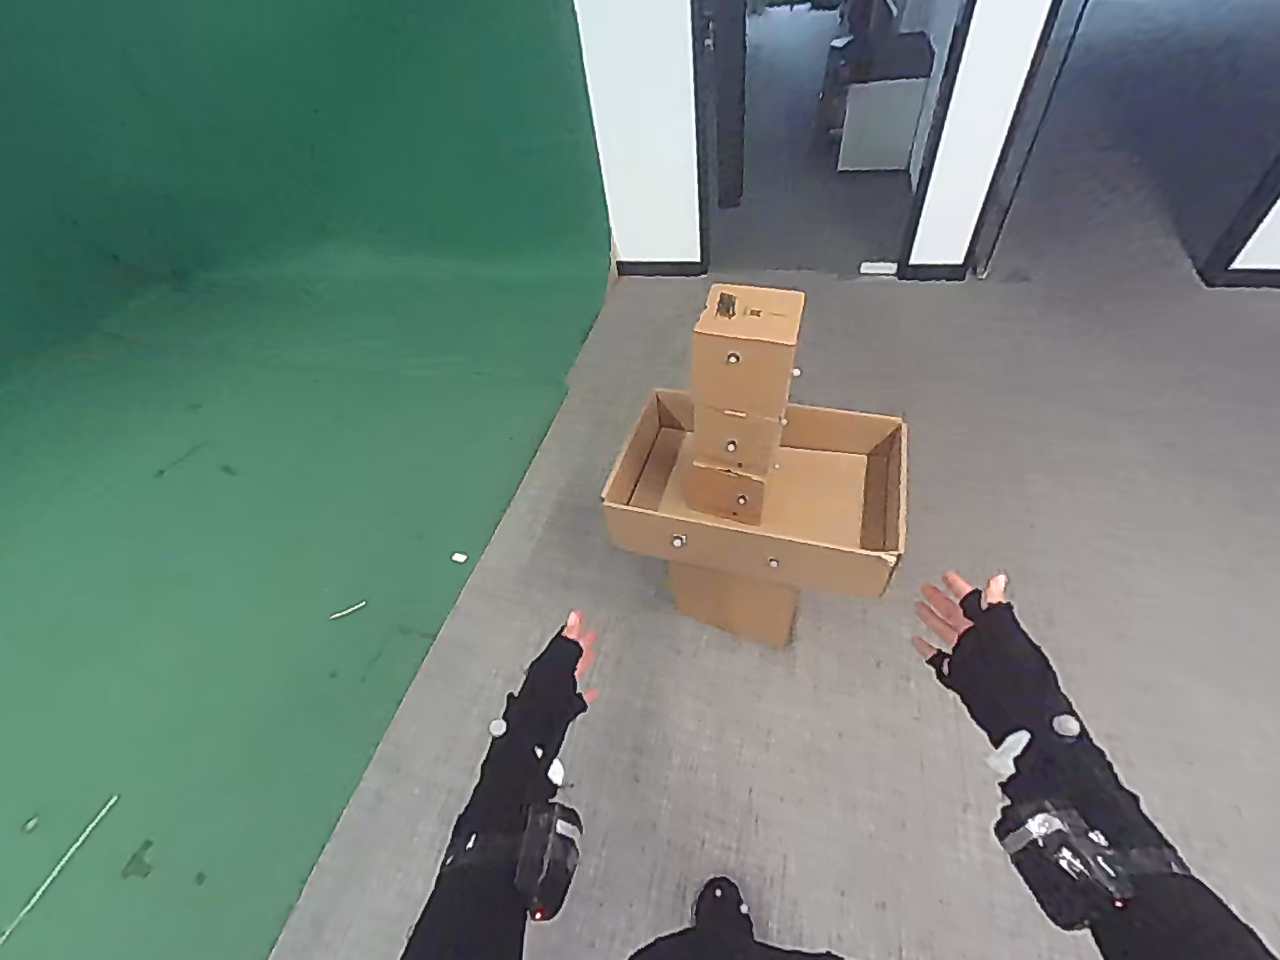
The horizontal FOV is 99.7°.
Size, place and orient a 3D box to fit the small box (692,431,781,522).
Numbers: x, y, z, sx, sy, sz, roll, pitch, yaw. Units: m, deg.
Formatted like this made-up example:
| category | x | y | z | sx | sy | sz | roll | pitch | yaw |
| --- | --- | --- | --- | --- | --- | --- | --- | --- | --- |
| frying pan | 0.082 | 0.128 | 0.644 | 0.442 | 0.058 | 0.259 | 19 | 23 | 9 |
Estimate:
| category | x | y | z | sx | sy | sz | roll | pitch | yaw |
| --- | --- | --- | --- | --- | --- | --- | --- | --- | --- |
| small box | 0.226 | -0.025 | 1.274 | 0.168 | 0.176 | 0.179 | 14 | 50 | 16 |

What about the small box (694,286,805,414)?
| category | x | y | z | sx | sy | sz | roll | pitch | yaw |
| --- | --- | --- | --- | --- | --- | --- | --- | --- | --- |
| small box | 0.204 | -0.245 | 1.030 | 0.179 | 0.176 | 0.168 | 11 | 52 | 13 |

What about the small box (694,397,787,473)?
| category | x | y | z | sx | sy | sz | roll | pitch | yaw |
| --- | --- | --- | --- | --- | --- | --- | --- | --- | --- |
| small box | 0.218 | -0.139 | 1.156 | 0.168 | 0.176 | 0.179 | 13 | 53 | 15 |
